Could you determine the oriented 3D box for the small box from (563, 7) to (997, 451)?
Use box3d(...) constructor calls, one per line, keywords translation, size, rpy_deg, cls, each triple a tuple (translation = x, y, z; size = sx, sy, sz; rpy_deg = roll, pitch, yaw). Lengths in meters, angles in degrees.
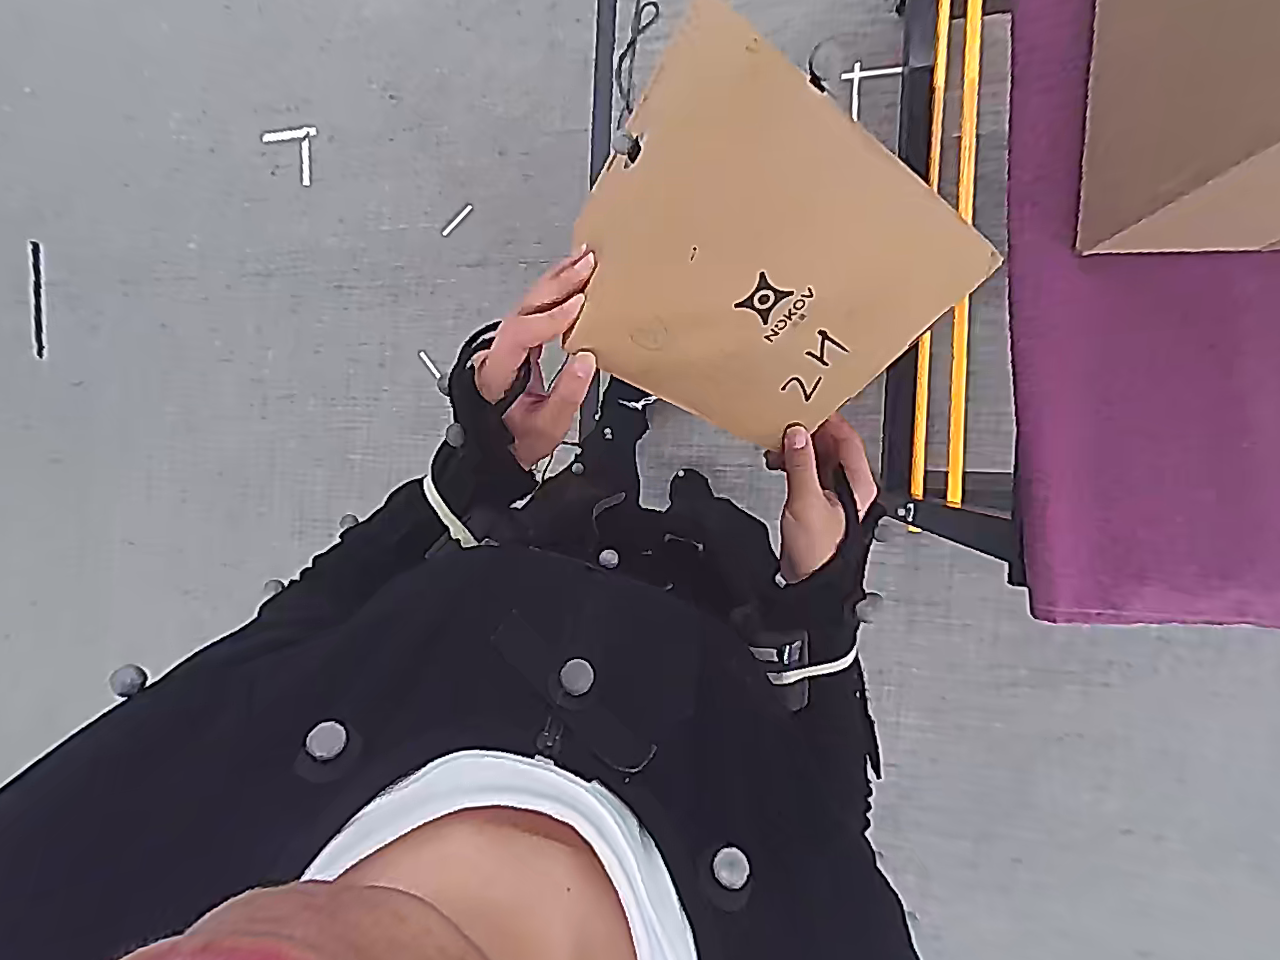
box3d(translation=(0.067, -0.155, 0.346), size=(0.179, 0.176, 0.168), rpy_deg=(22, 132, -25), cls="small box")
